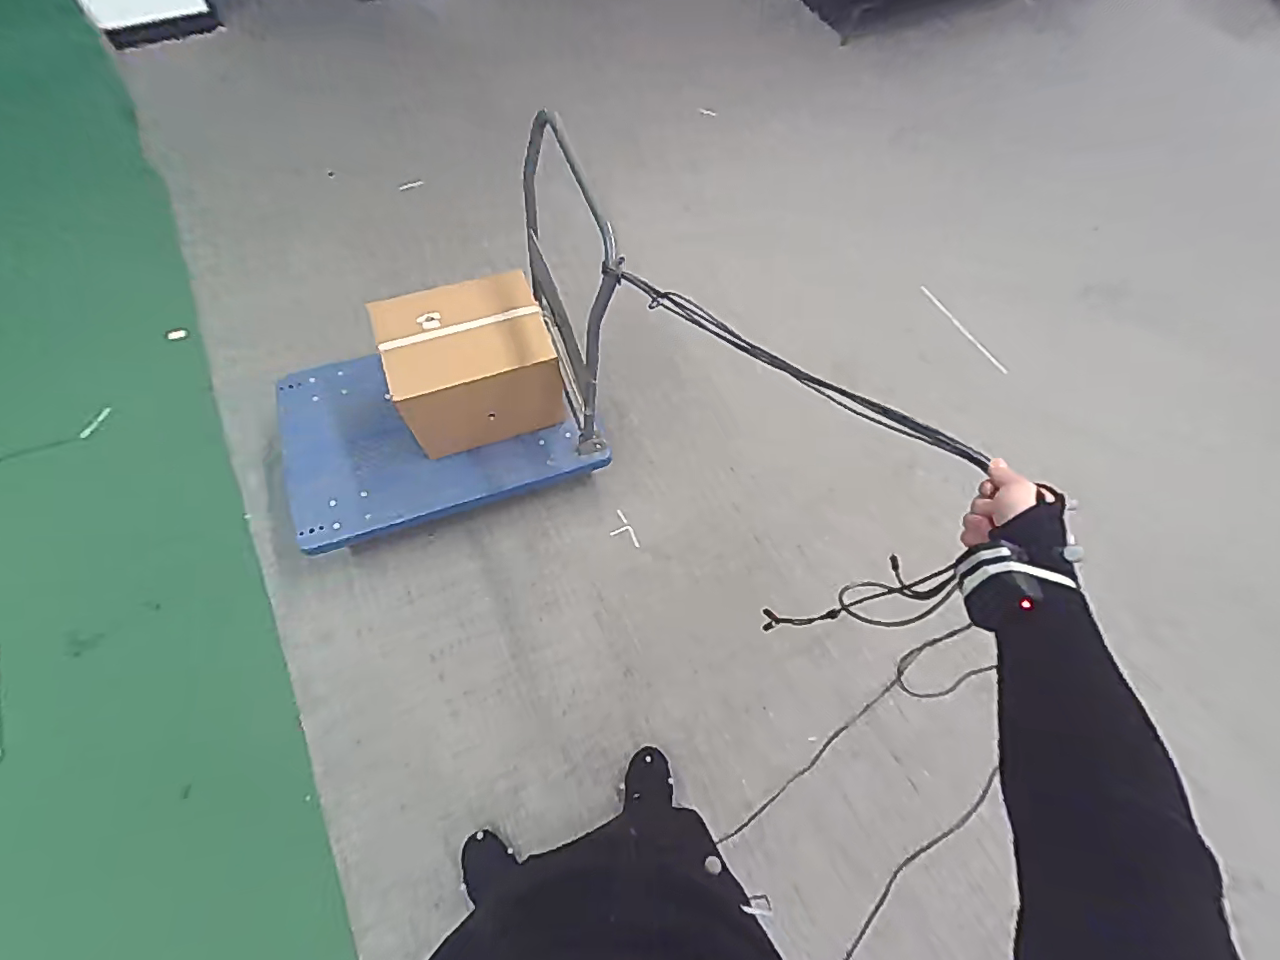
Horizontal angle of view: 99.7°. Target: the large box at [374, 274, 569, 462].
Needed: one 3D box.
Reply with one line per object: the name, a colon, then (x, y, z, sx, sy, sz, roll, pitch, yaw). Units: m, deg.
large box: (-0.440, -0.298, 1.481, 0.408, 0.320, 0.320, -19, 66, -11)
